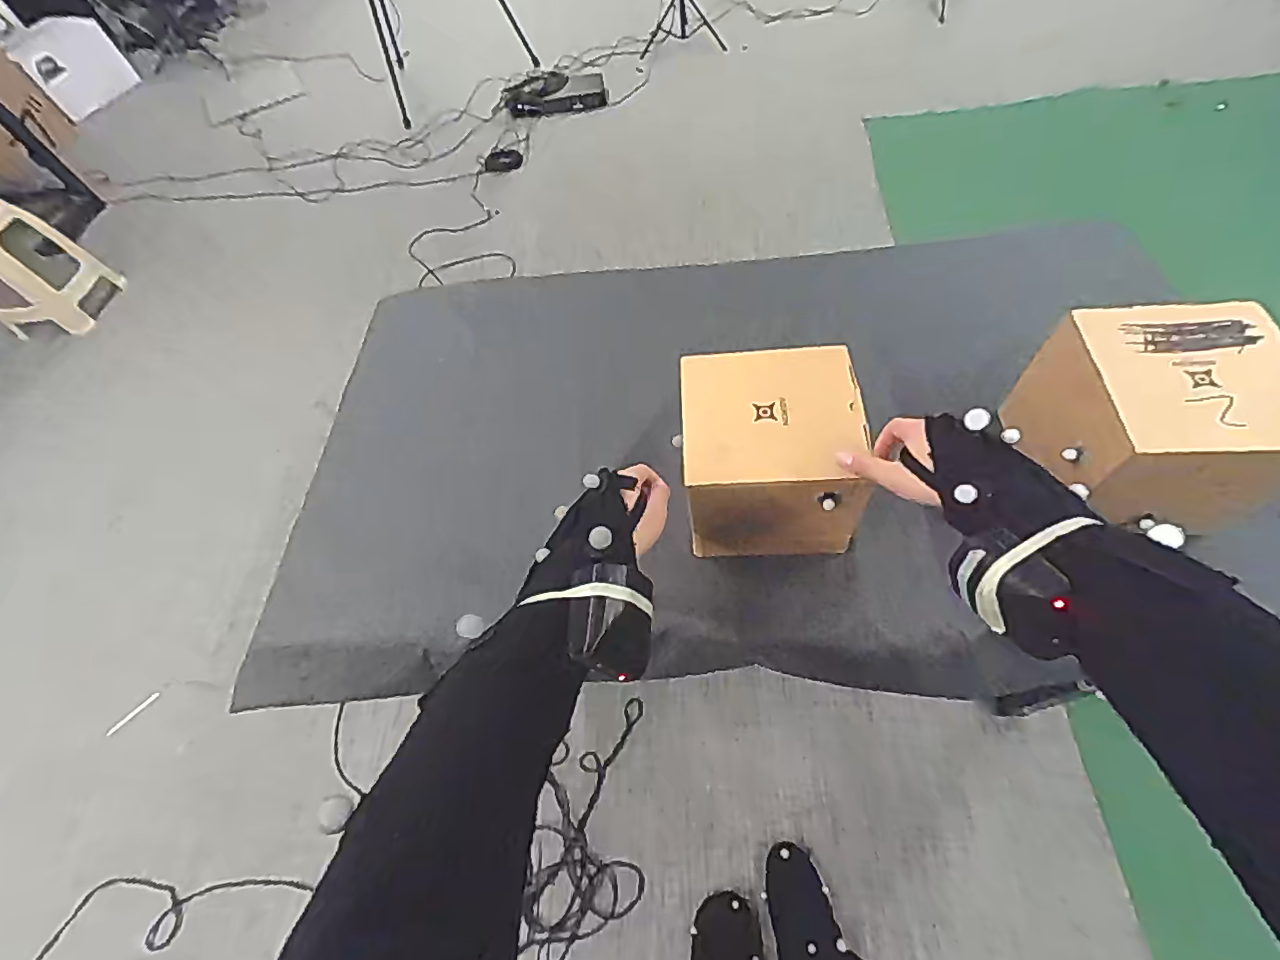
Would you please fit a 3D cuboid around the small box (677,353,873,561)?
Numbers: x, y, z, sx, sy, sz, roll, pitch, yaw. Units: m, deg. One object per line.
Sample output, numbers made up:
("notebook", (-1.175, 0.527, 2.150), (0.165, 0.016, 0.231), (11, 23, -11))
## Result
("small box", (0.135, -0.017, 0.597), (0.179, 0.176, 0.168), (-2, 58, 6))
